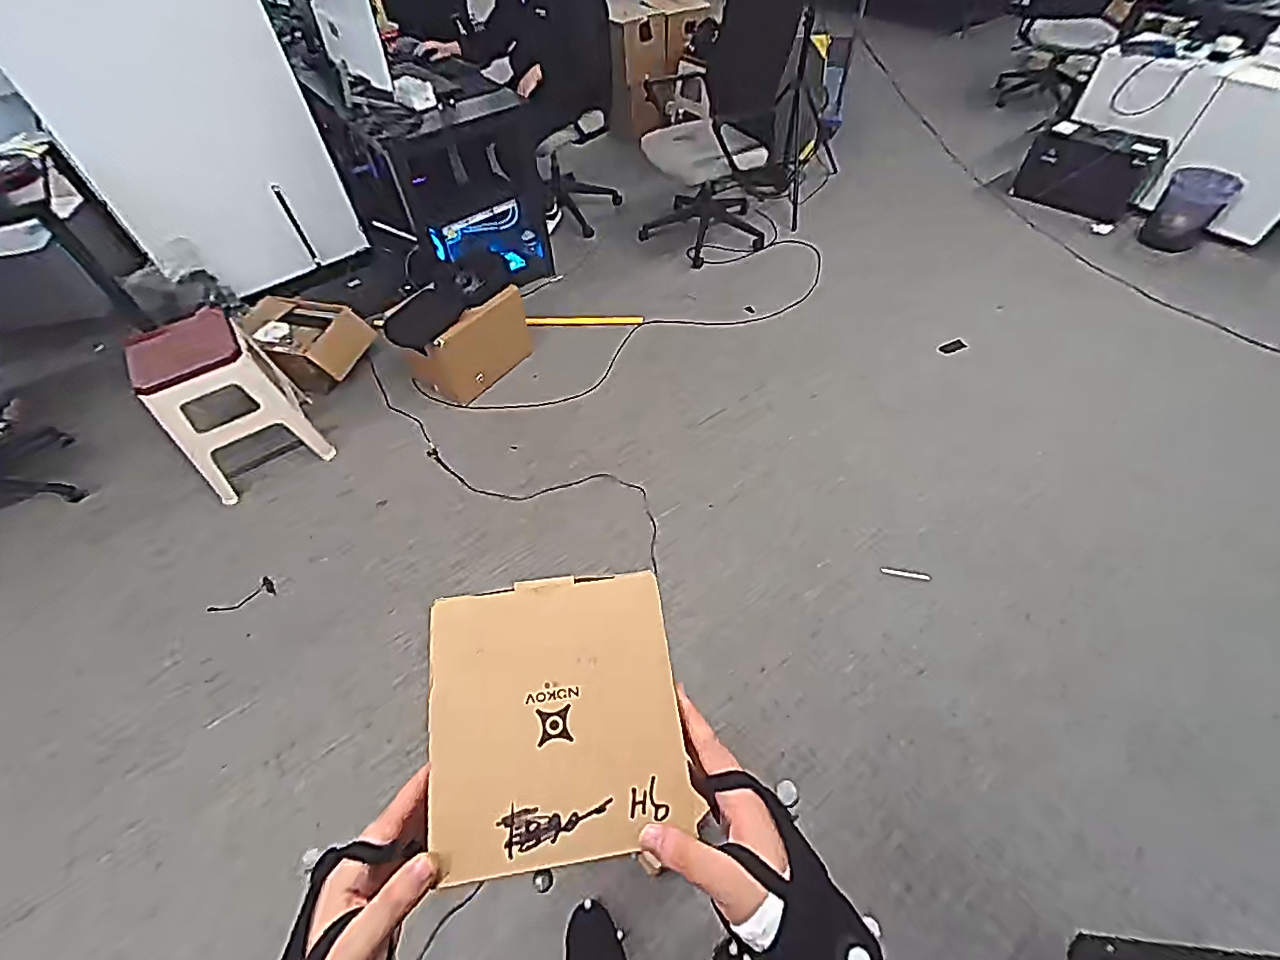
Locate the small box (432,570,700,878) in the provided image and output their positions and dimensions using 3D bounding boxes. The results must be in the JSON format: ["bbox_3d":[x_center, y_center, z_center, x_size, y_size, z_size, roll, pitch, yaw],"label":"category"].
[{"bbox_3d":[-0.056,0.189,0.436,0.168,0.176,0.179,-7,64,-5],"label":"small box"}]

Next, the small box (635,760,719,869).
[{"bbox_3d":[0.035,0.635,1.074,0.179,0.176,0.168,-37,61,-25],"label":"small box"}]
